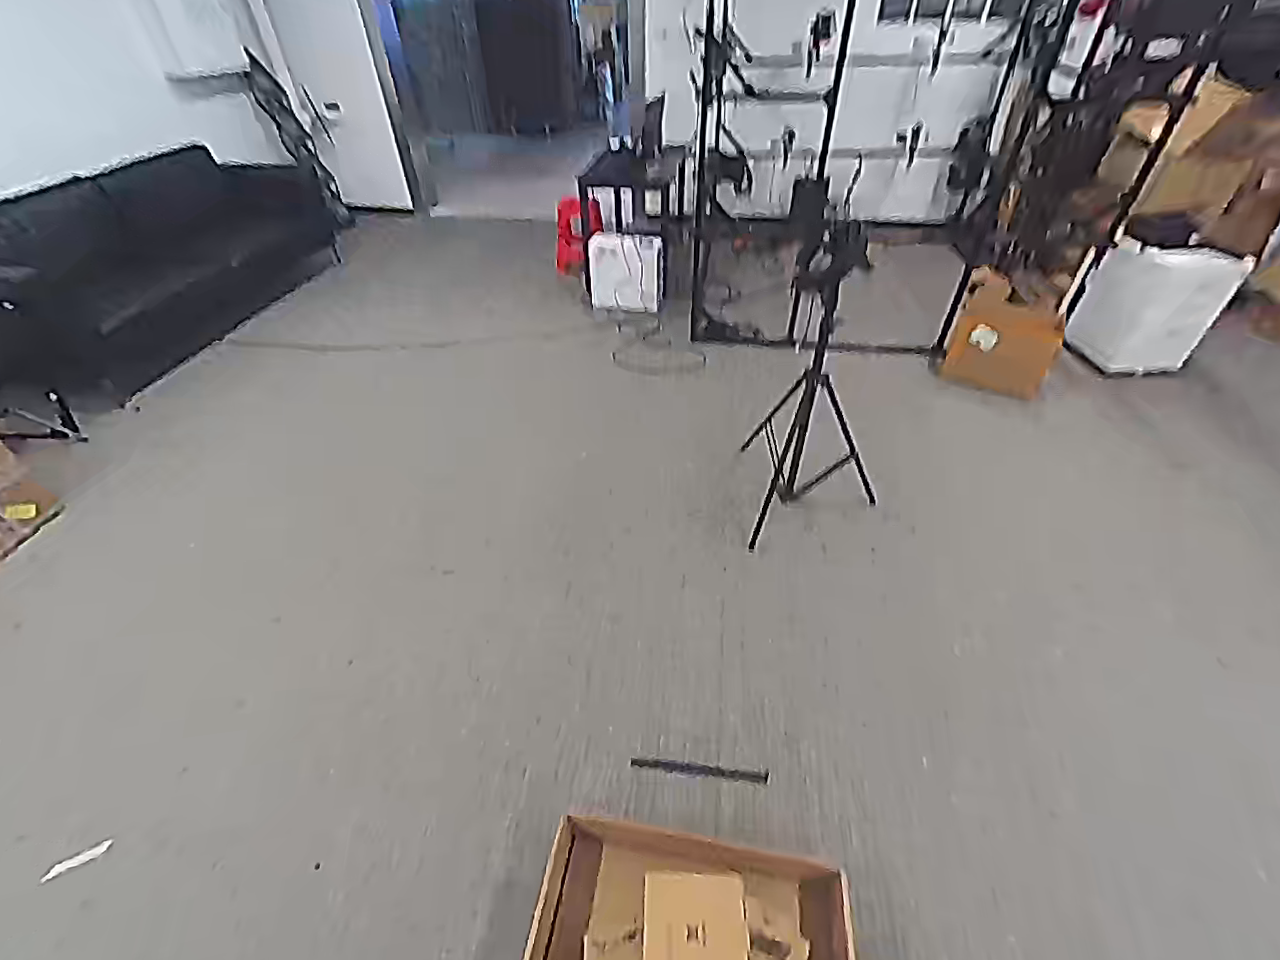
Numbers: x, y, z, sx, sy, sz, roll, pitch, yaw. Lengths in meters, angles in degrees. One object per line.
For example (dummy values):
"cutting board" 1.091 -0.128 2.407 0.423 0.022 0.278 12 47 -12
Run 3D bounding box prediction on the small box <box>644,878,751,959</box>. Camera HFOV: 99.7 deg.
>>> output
"small box" 0.095 0.819 0.942 0.179 0.176 0.168 0 39 2
